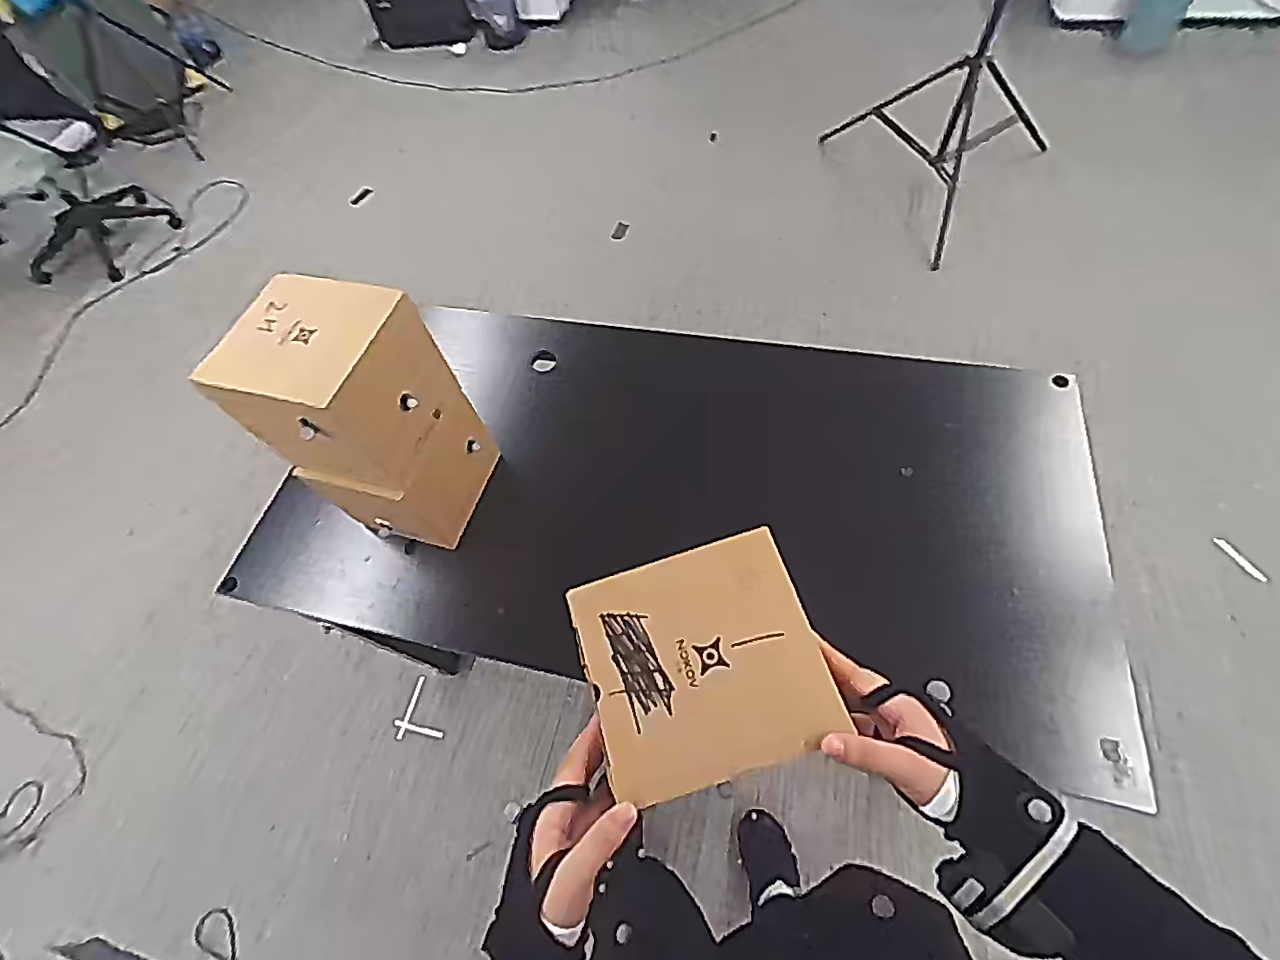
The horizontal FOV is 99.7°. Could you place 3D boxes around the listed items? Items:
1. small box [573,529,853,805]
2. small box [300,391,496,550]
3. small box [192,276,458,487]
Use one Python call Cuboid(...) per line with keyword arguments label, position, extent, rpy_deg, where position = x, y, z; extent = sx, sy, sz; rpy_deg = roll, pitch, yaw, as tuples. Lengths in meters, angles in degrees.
Cuboid(label="small box", position=(0.058, 0.169, 0.481), extent=(0.179, 0.176, 0.168), rpy_deg=(-17, 64, 0))
Cuboid(label="small box", position=(-0.328, -0.023, 0.778), extent=(0.168, 0.176, 0.179), rpy_deg=(11, 64, 13))
Cuboid(label="small box", position=(-0.347, -0.109, 0.639), extent=(0.179, 0.176, 0.168), rpy_deg=(11, 62, 13))
